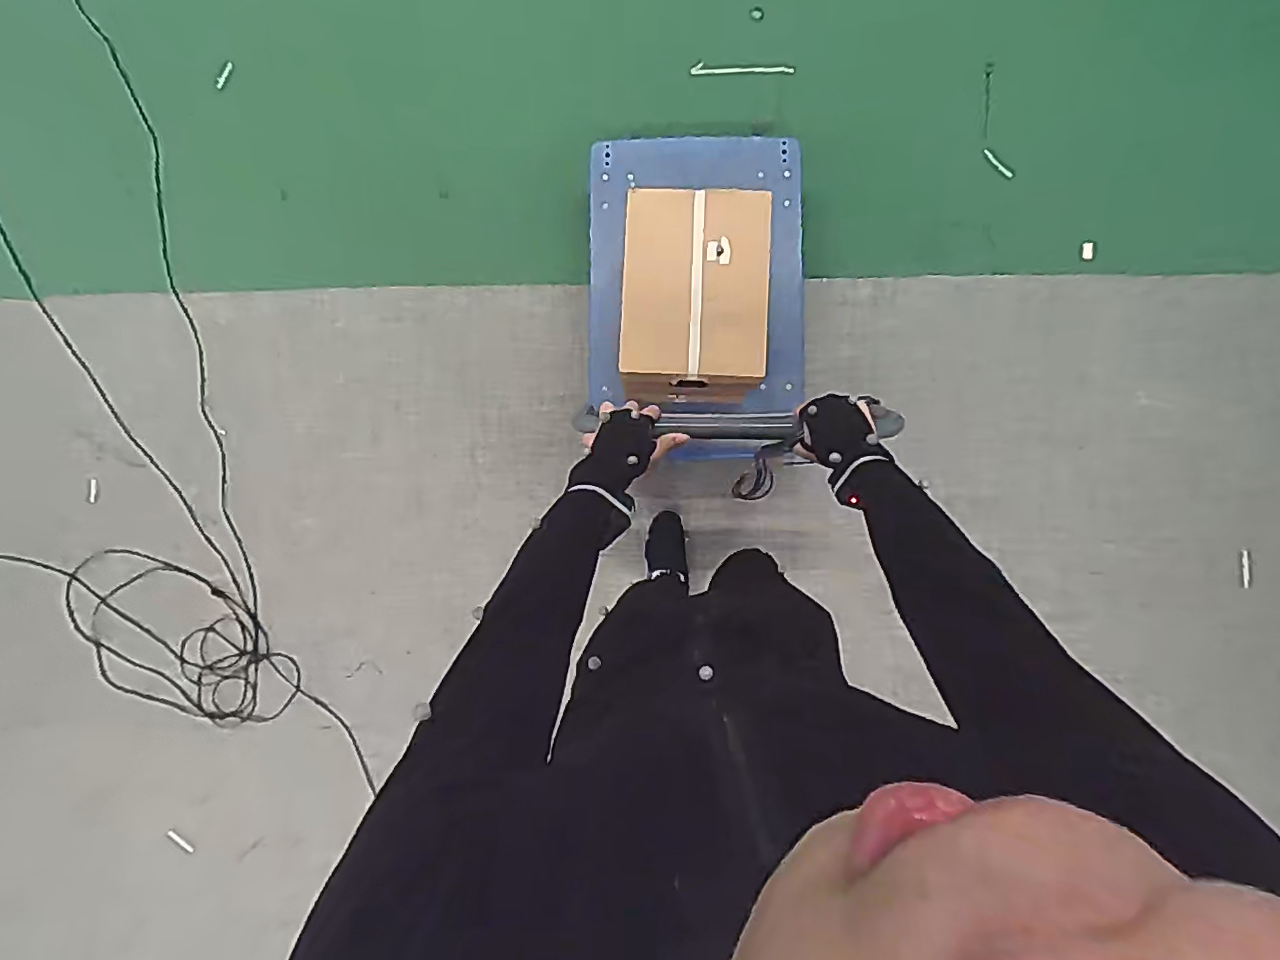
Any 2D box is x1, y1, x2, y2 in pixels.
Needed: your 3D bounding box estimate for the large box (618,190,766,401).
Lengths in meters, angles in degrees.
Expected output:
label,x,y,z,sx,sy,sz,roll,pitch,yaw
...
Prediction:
label,x,y,z,sx,sy,sz,roll,pitch,yaw
large box,0.118,-0.416,1.305,0.320,0.320,0.408,3,87,1
